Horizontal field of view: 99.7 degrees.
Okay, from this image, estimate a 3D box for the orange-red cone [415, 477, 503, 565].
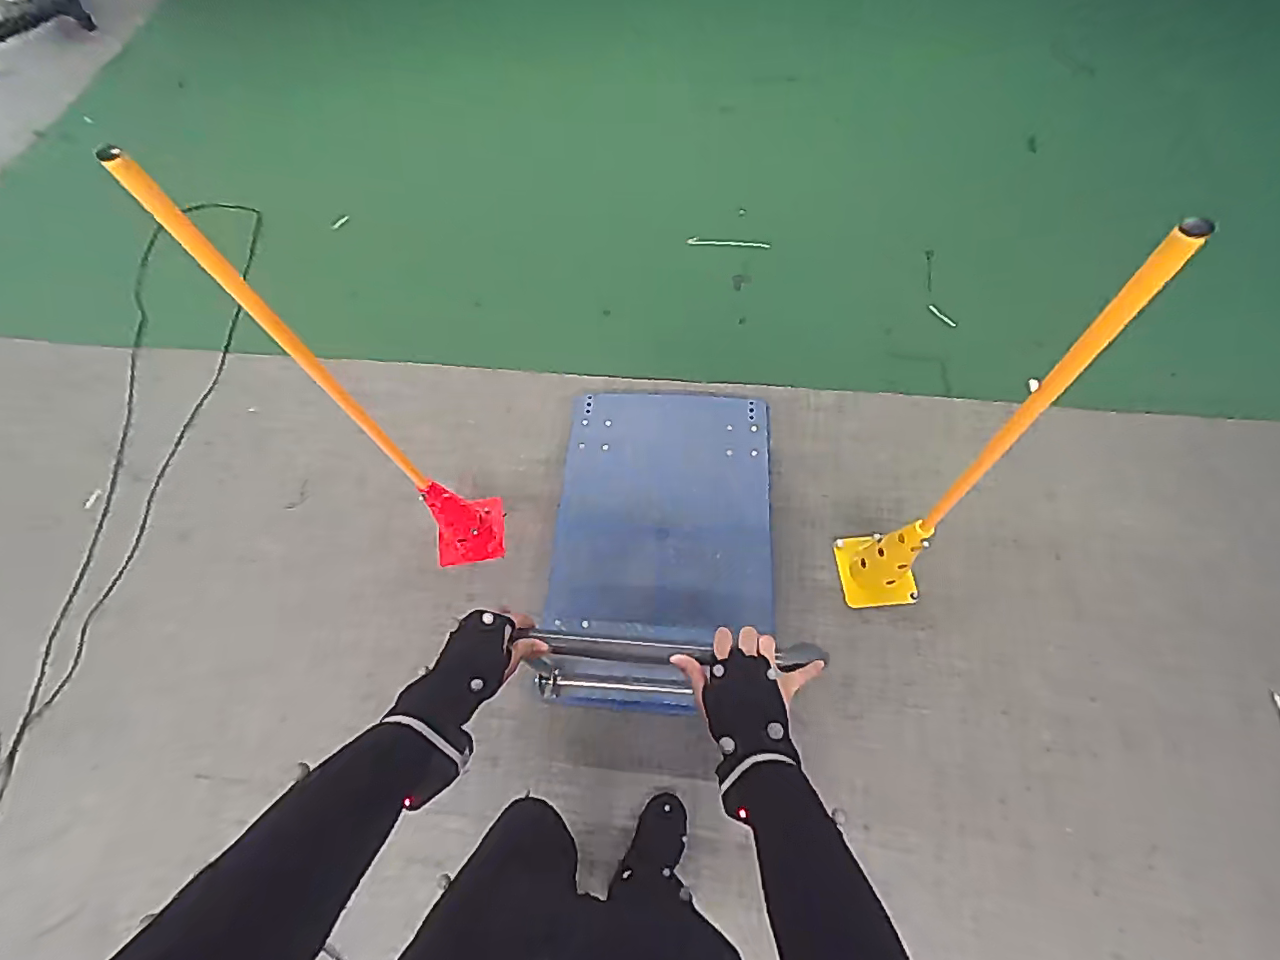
[{"bbox_3d":[-0.527,0.084,1.486,0.199,0.360,0.198,-9,65,1],"label":"orange-red cone"}]
